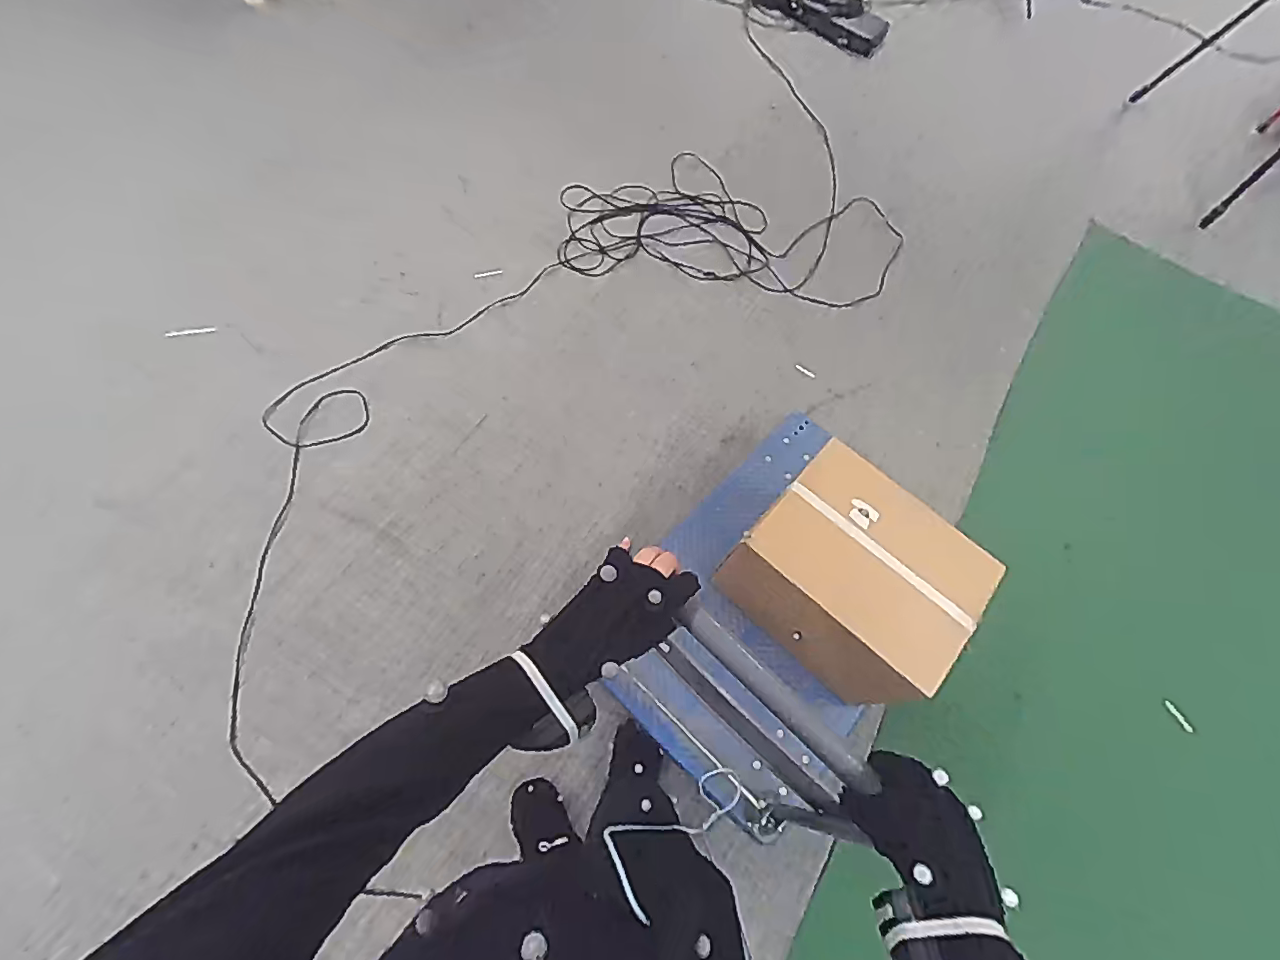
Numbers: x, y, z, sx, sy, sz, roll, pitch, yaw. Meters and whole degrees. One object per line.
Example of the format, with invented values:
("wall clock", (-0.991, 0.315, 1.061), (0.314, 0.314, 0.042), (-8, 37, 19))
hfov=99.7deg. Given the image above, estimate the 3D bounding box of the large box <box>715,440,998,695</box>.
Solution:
("large box", (0.430, 0.199, 1.155), (0.408, 0.320, 0.320), (39, 68, 13))
